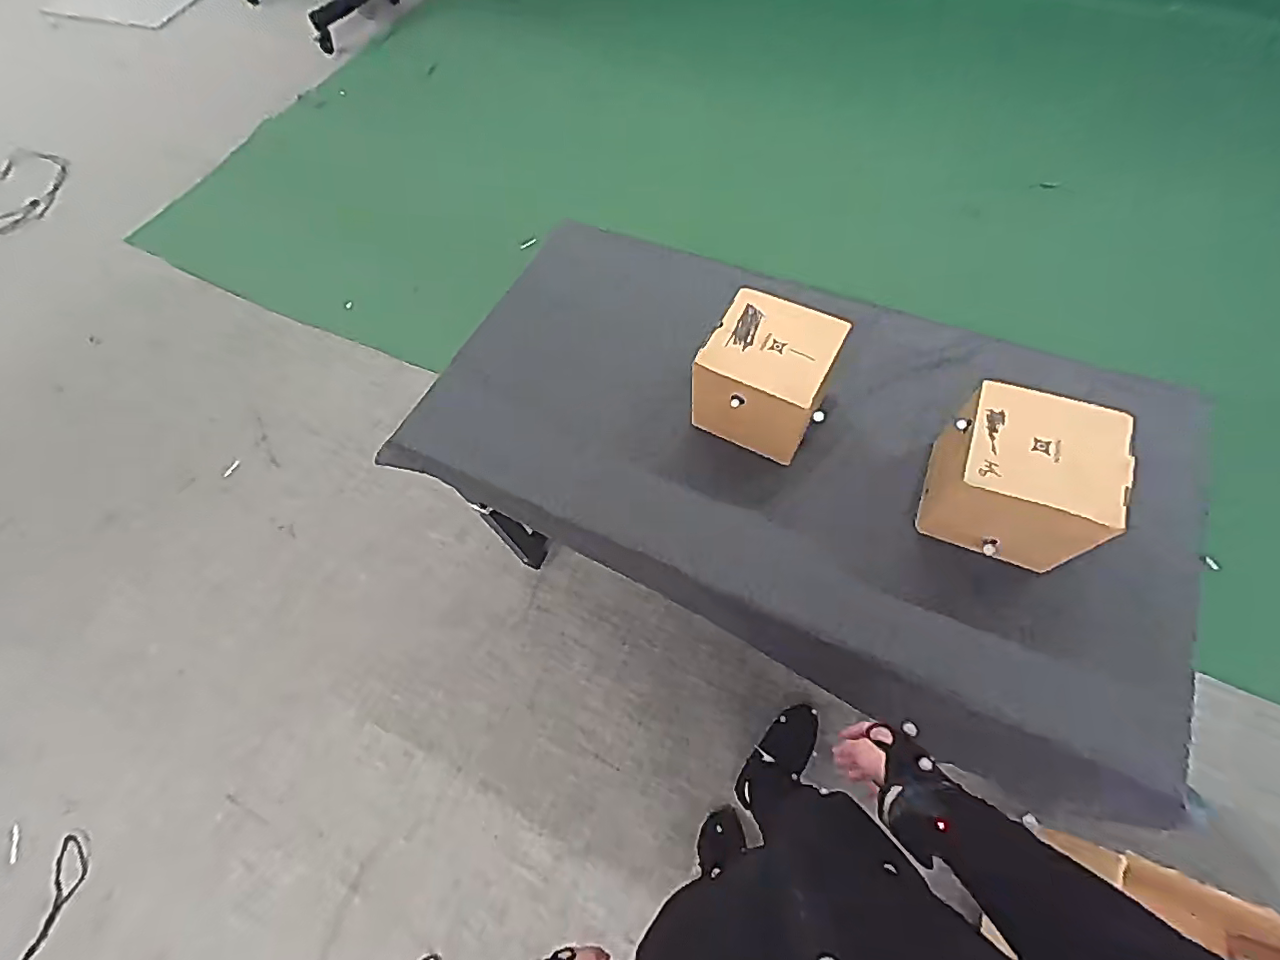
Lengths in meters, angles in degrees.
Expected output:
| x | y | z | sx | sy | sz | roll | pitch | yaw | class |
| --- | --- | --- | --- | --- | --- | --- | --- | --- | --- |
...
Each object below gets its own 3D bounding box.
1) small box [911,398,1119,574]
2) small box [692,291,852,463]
| x | y | z | sx | sy | sz | roll | pitch | yaw | class |
| --- | --- | --- | --- | --- | --- | --- | --- | --- | --- |
| 0.507 | 0.017 | 0.750 | 0.179 | 0.176 | 0.168 | 17 | 68 | 14 | small box |
| 0.196 | -0.153 | 0.842 | 0.179 | 0.176 | 0.168 | 29 | 71 | 19 | small box |
